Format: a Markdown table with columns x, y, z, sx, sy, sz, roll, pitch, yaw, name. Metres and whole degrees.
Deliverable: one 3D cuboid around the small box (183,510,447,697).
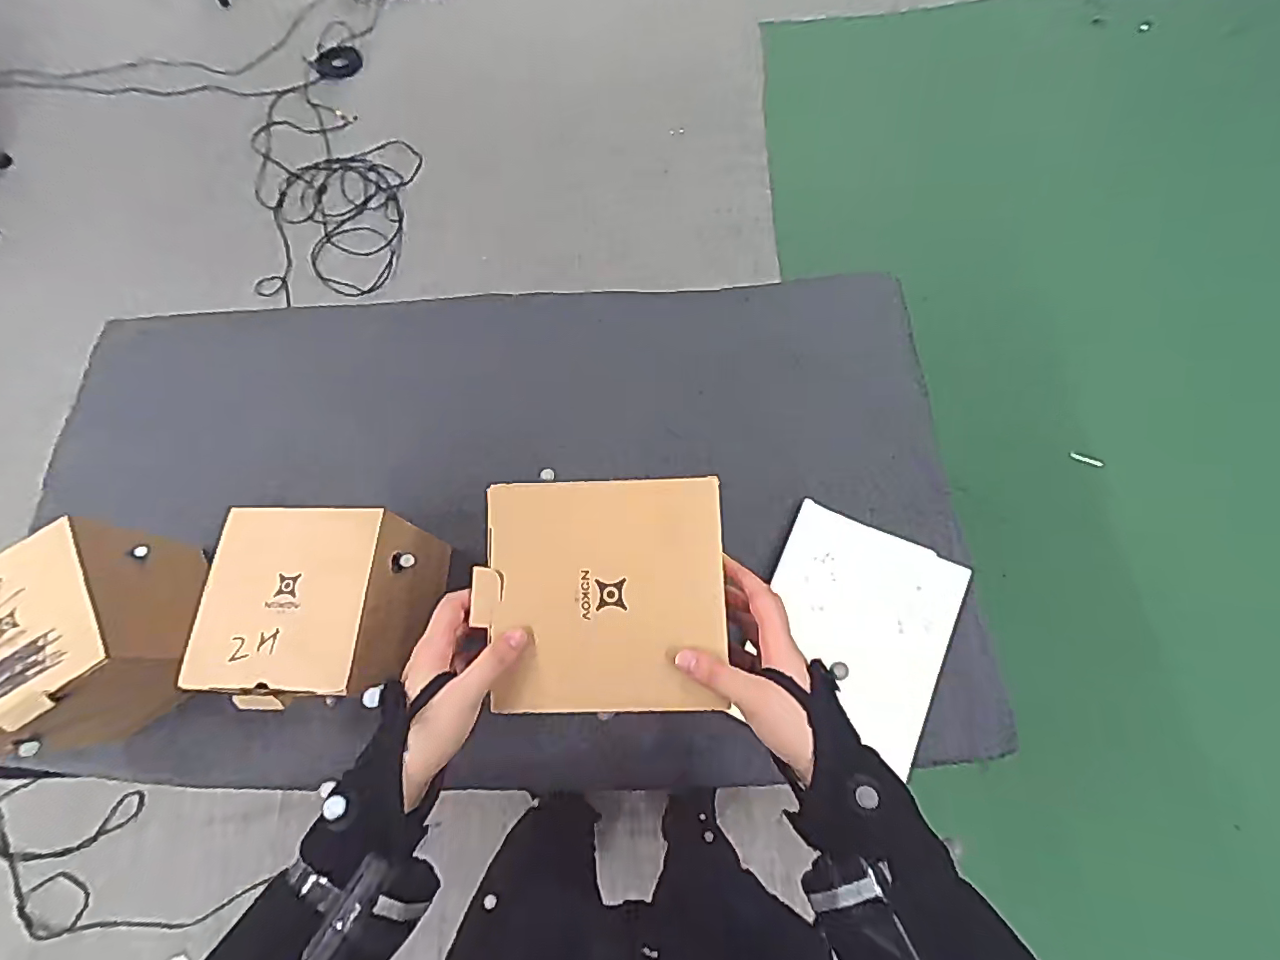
| x | y | z | sx | sy | sz | roll | pitch | yaw | name |
| --- | --- | --- | --- | --- | --- | --- | --- | --- | --- |
| -0.331 | 0.140 | 0.593 | 0.168 | 0.176 | 0.179 | -1 | 70 | 6 | small box |
